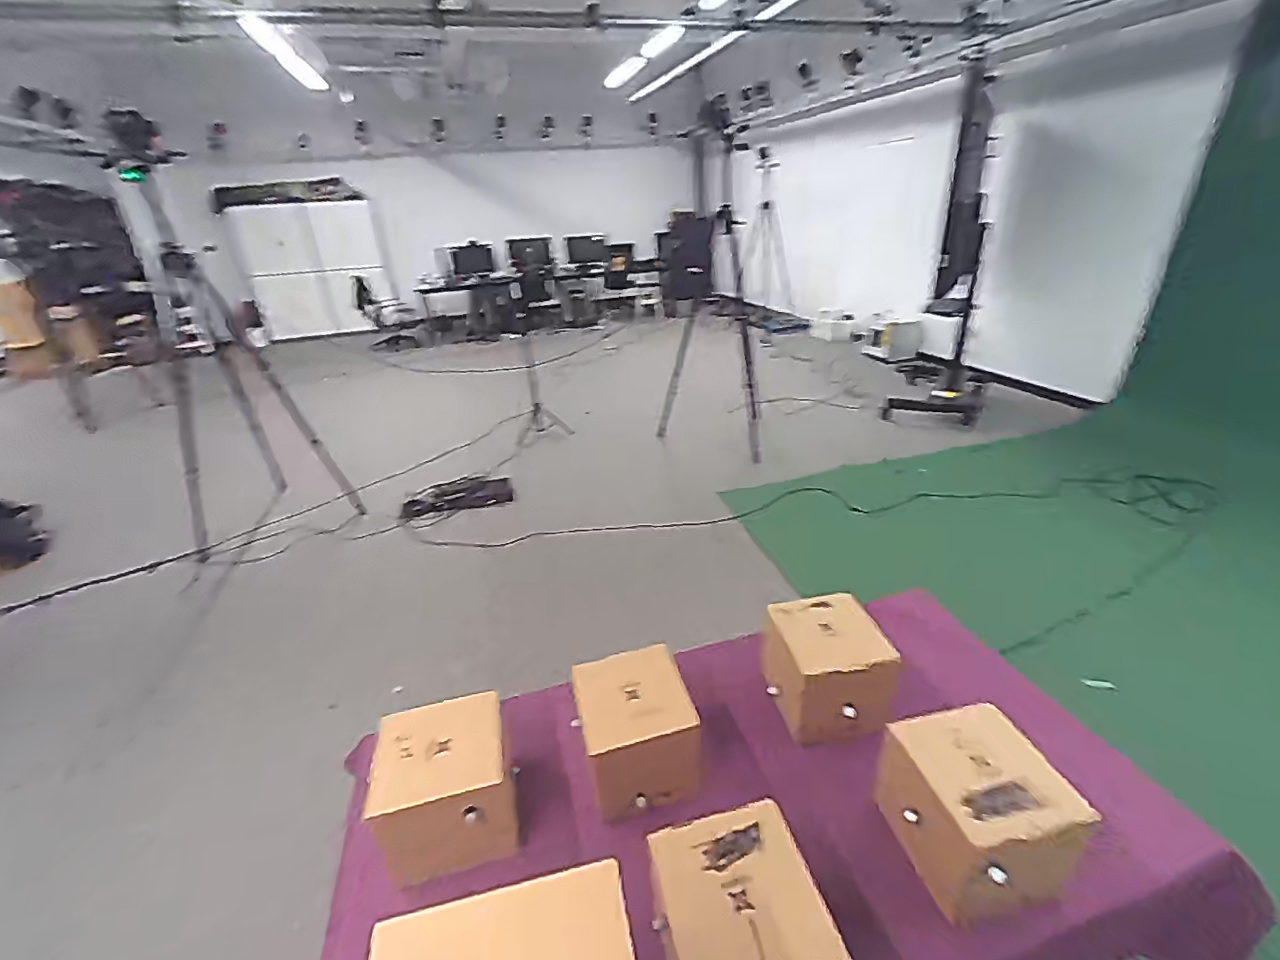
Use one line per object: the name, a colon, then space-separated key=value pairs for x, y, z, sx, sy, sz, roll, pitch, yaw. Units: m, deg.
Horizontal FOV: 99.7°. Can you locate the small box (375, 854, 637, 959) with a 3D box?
small box: x=-0.077 y=0.396 z=0.352 sx=0.168 sy=0.176 sz=0.179 roll=-7 pitch=33 yaw=-12

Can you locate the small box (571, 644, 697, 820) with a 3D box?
small box: x=-0.012 y=0.405 z=0.884 sx=0.168 sy=0.176 sz=0.179 roll=-11 pitch=28 yaw=-11

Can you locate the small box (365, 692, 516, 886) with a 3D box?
small box: x=-0.286 y=0.459 z=0.815 sx=0.179 sy=0.176 sz=0.168 roll=-10 pitch=27 yaw=-12

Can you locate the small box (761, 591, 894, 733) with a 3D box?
small box: x=0.325 y=0.330 z=0.973 sx=0.168 sy=0.176 sz=0.179 roll=-7 pitch=28 yaw=-7

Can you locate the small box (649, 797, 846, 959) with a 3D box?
small box: x=0.112 y=0.521 z=0.629 sx=0.168 sy=0.176 sz=0.179 roll=-11 pitch=27 yaw=-11
